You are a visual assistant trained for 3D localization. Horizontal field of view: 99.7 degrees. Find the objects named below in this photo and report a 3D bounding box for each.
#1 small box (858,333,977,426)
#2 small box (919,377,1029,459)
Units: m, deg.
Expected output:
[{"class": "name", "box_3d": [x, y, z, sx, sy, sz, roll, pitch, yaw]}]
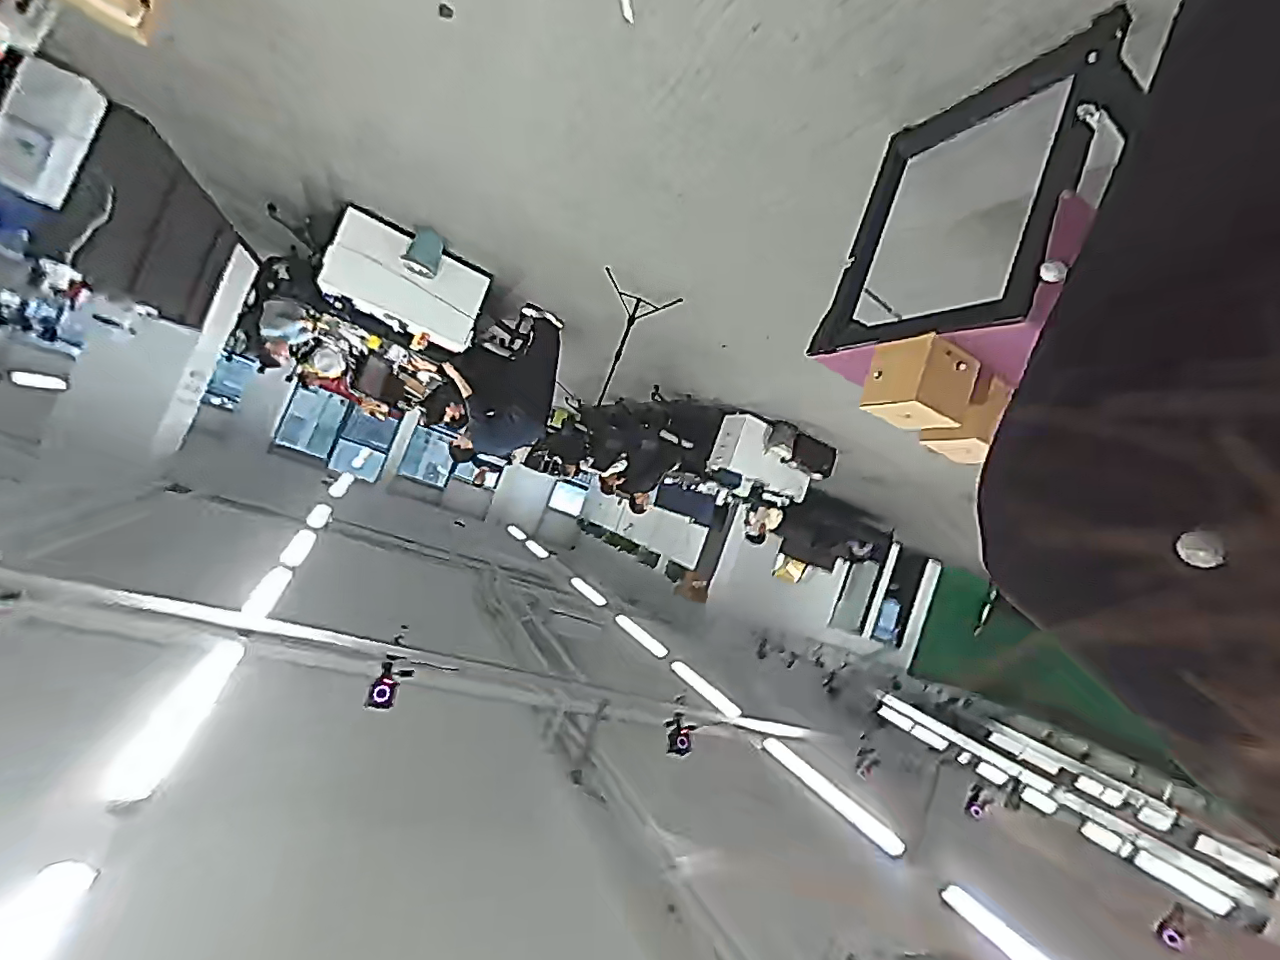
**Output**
[{"class": "small box", "box_3d": [0.675, -0.240, 1.316, 0.168, 0.176, 0.179, 19, 177, -21]}, {"class": "small box", "box_3d": [0.878, -0.161, 1.416, 0.168, 0.176, 0.179, 21, 177, -20]}]
